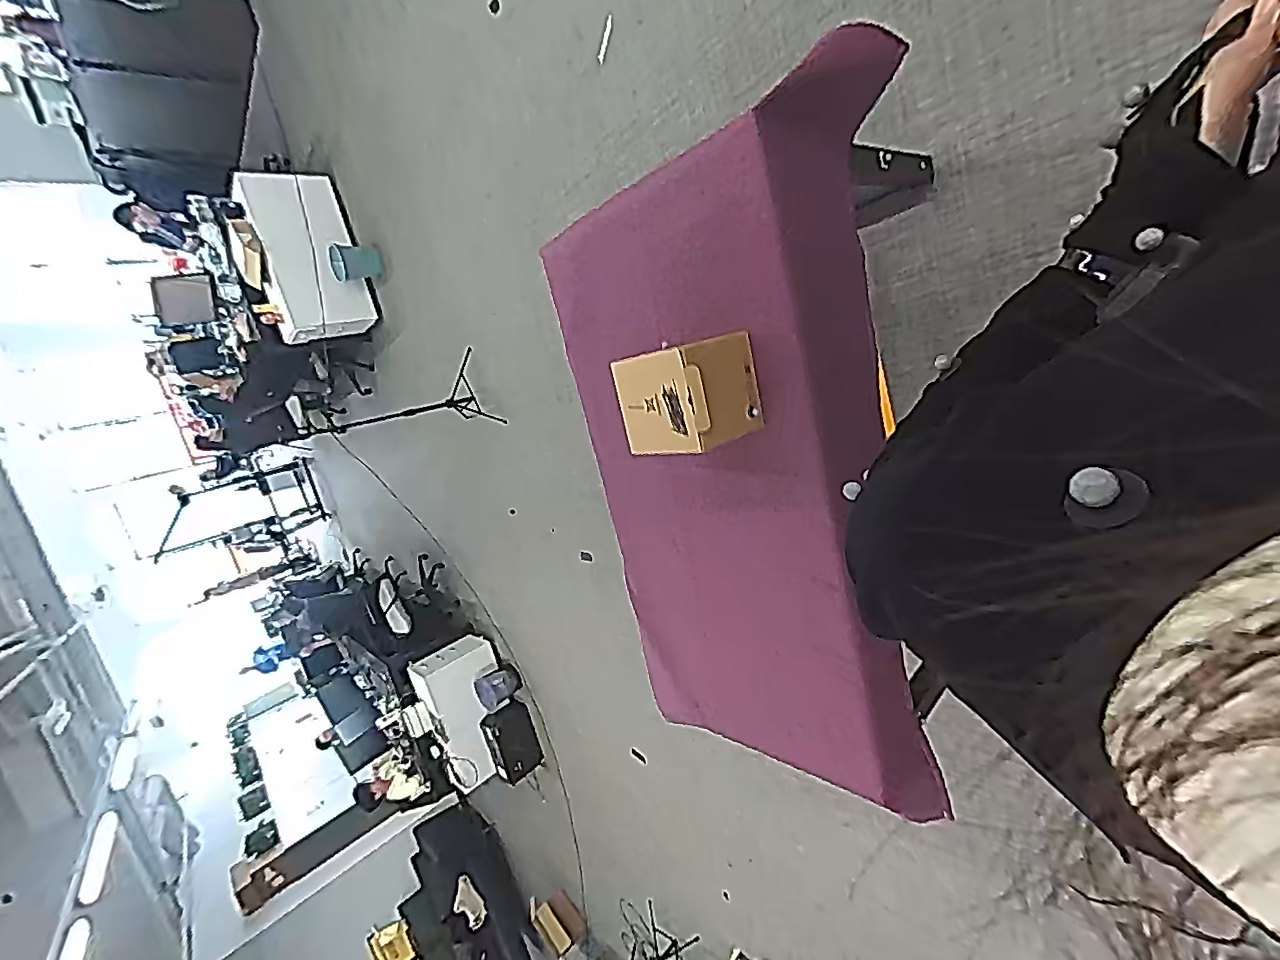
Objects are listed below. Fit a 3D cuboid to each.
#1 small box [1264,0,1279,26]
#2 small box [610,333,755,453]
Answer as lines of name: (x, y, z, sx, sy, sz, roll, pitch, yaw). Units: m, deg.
small box: (0.361, -0.307, 0.195, 0.168, 0.176, 0.179, 5, 121, 45)
small box: (0.080, -0.149, 0.933, 0.179, 0.176, 0.168, 2, 110, 50)
